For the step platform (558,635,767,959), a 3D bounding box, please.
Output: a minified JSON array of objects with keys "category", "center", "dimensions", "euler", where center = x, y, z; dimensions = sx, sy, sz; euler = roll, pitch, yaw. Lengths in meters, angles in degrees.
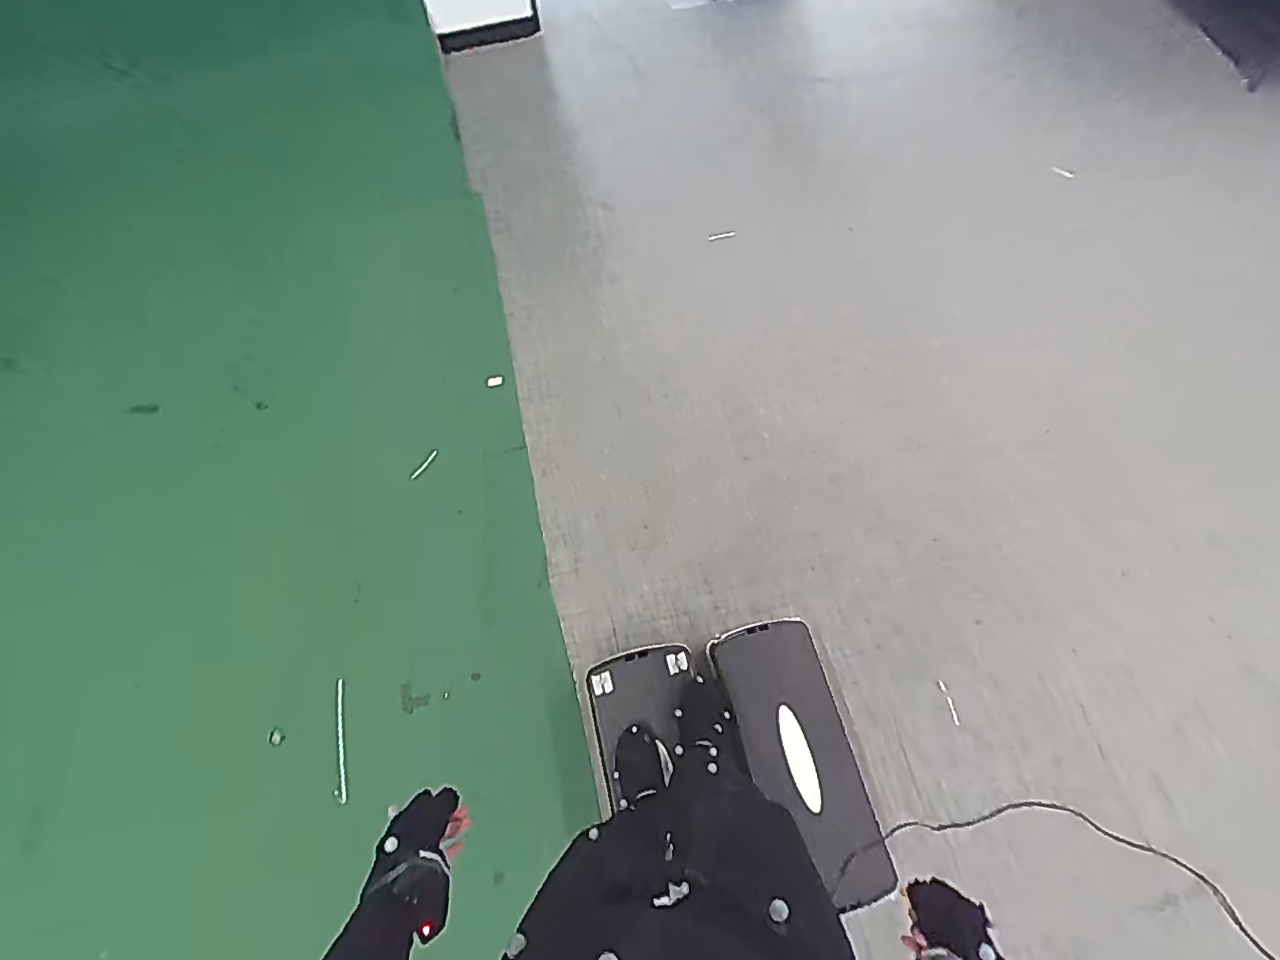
[{"category":"step platform","center":[0.031,0.694,1.140],"dimensions":[0.286,0.204,0.684],"euler":[-13,70,-4]}]
